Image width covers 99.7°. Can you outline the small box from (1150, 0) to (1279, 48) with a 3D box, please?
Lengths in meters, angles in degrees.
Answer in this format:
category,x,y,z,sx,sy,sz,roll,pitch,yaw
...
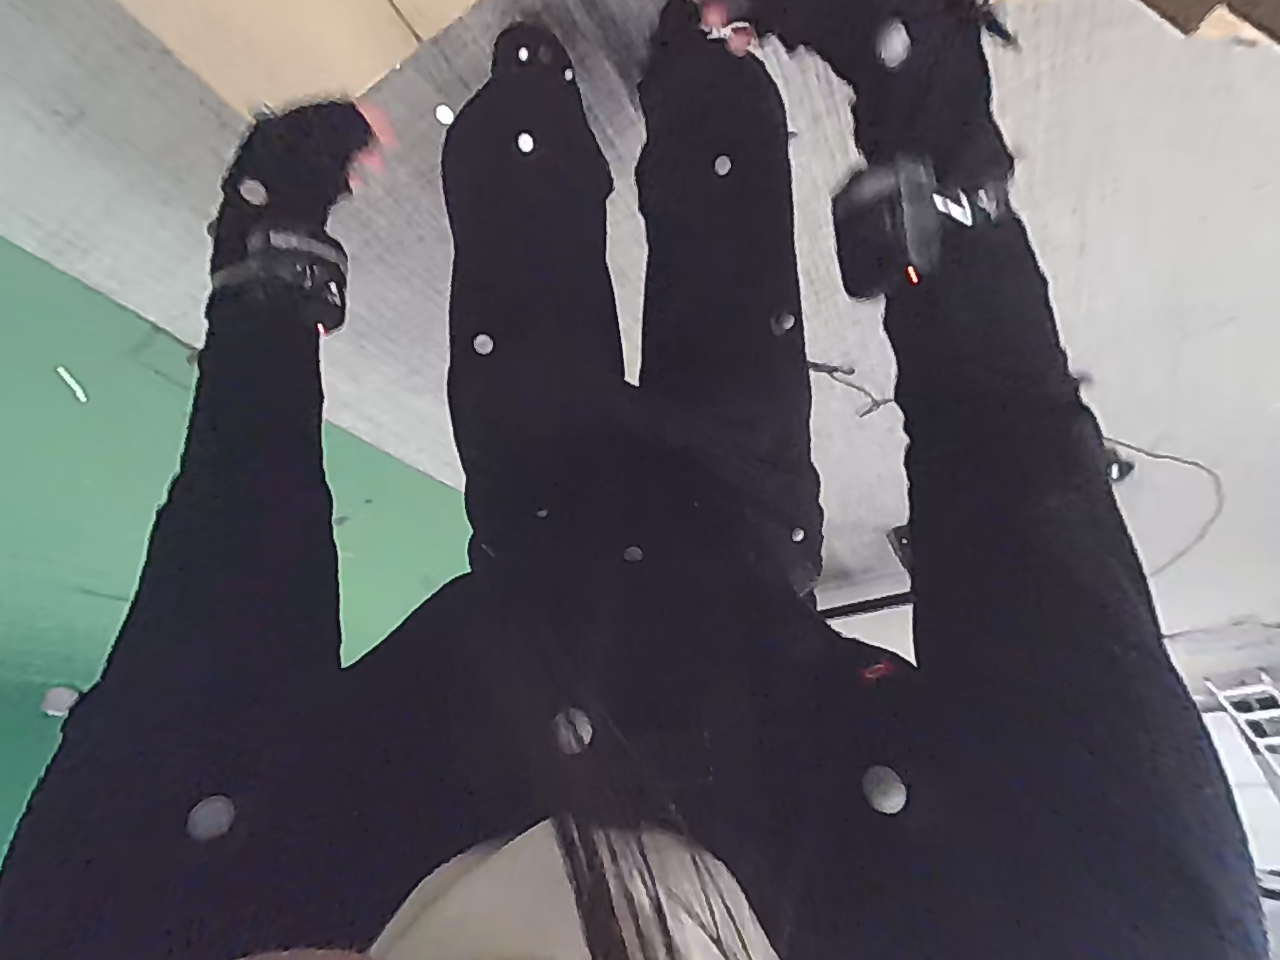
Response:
category,x,y,z,sx,sy,sz,roll,pitch,yaw
small box,0.454,-0.413,0.345,0.168,0.176,0.179,0,148,-7
